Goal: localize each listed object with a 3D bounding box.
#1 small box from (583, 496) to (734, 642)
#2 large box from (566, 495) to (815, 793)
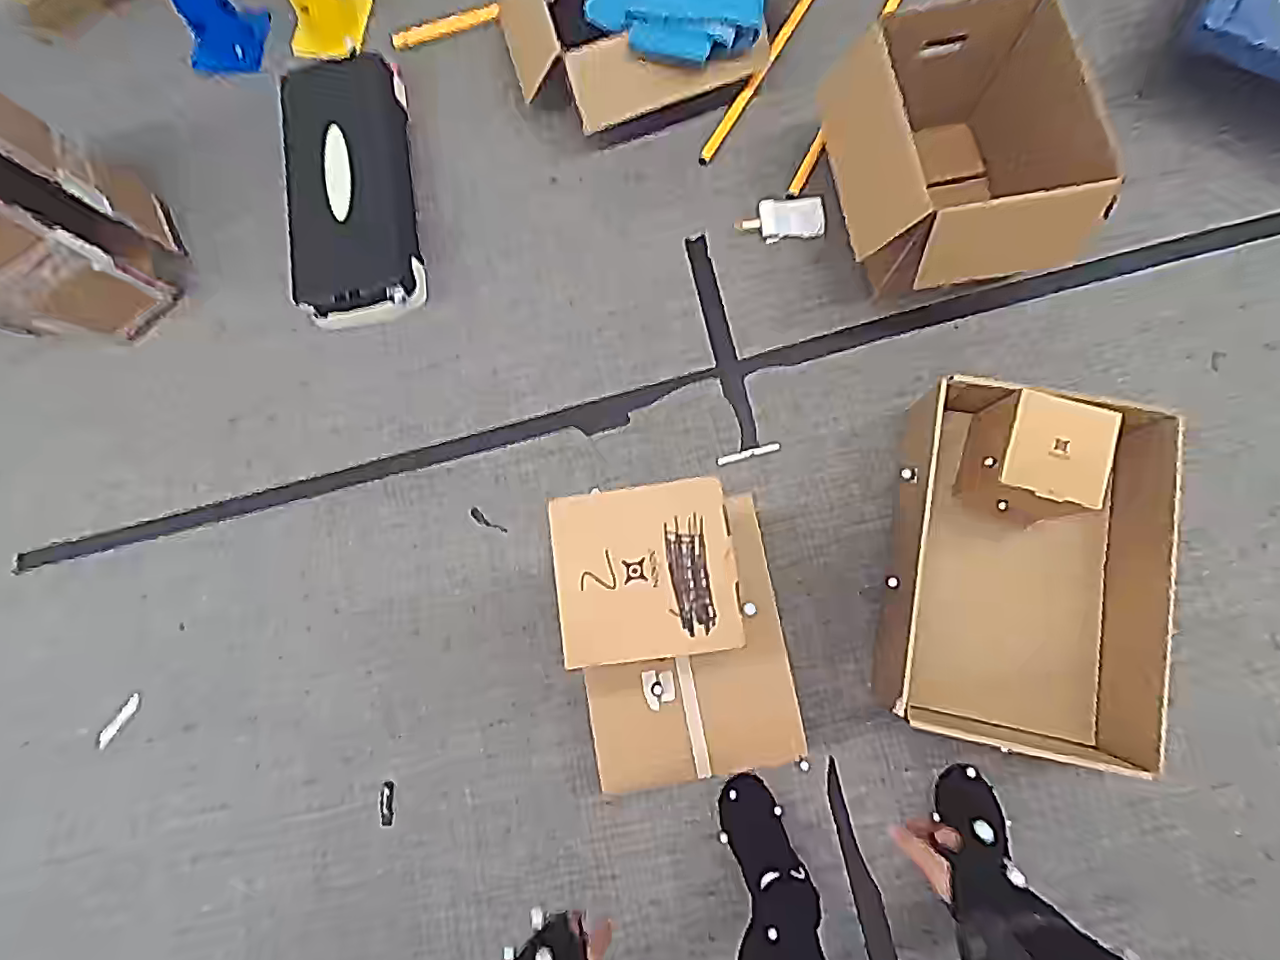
[{"bbox_3d":[0.029,0.124,0.756,0.179,0.176,0.168,-9,81,4],"label":"small box"},{"bbox_3d":[0.081,0.268,0.977,0.320,0.320,0.408,-12,80,5],"label":"large box"}]
